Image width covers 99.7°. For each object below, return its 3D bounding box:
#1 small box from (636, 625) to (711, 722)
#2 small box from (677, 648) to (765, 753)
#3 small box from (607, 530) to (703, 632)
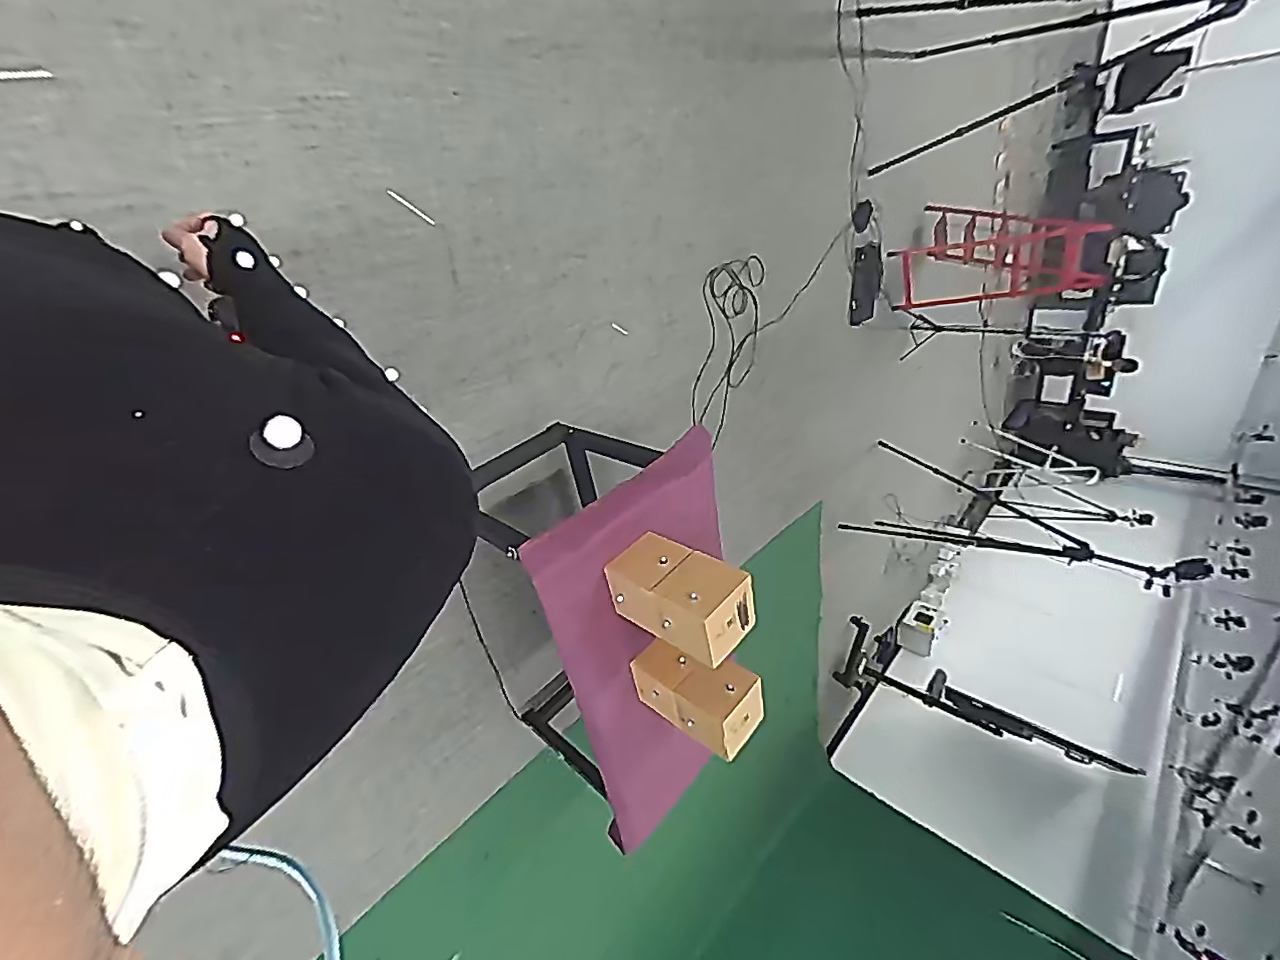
[{"bbox_3d":[0.103,0.563,1.599,0.179,0.176,0.168,-36,127,-35],"label":"small box"},{"bbox_3d":[0.225,0.599,1.494,0.179,0.176,0.168,-35,126,-35],"label":"small box"},{"bbox_3d":[0.041,0.257,1.420,0.179,0.176,0.168,-36,127,-33],"label":"small box"}]
